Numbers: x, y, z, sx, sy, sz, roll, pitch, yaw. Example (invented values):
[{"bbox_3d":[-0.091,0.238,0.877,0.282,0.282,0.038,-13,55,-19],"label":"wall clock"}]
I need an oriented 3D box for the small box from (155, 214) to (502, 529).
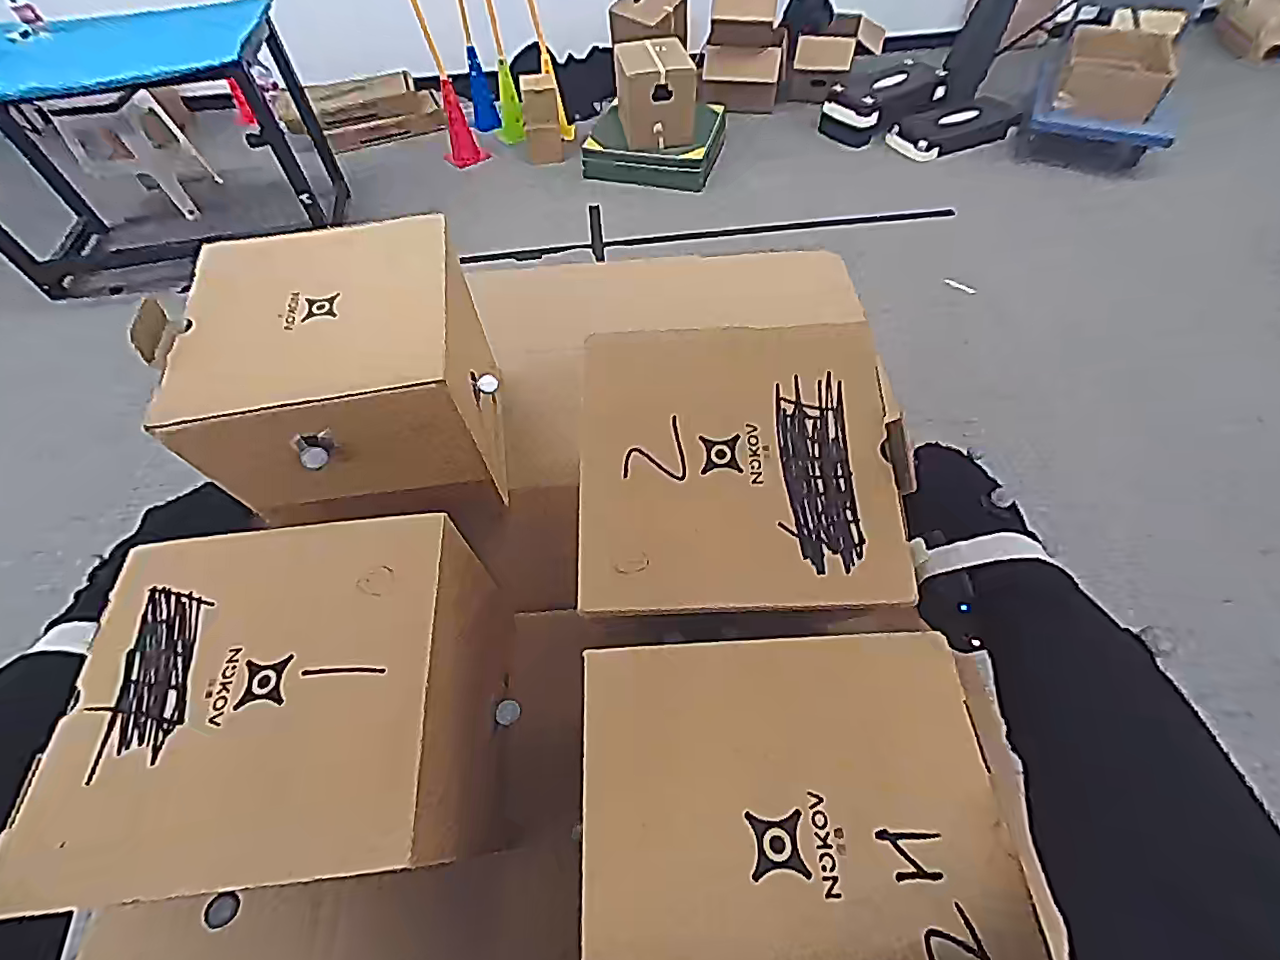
[{"bbox_3d":[-0.215,-0.078,0.434,0.179,0.176,0.168,-10,60,-3],"label":"small box"}]
